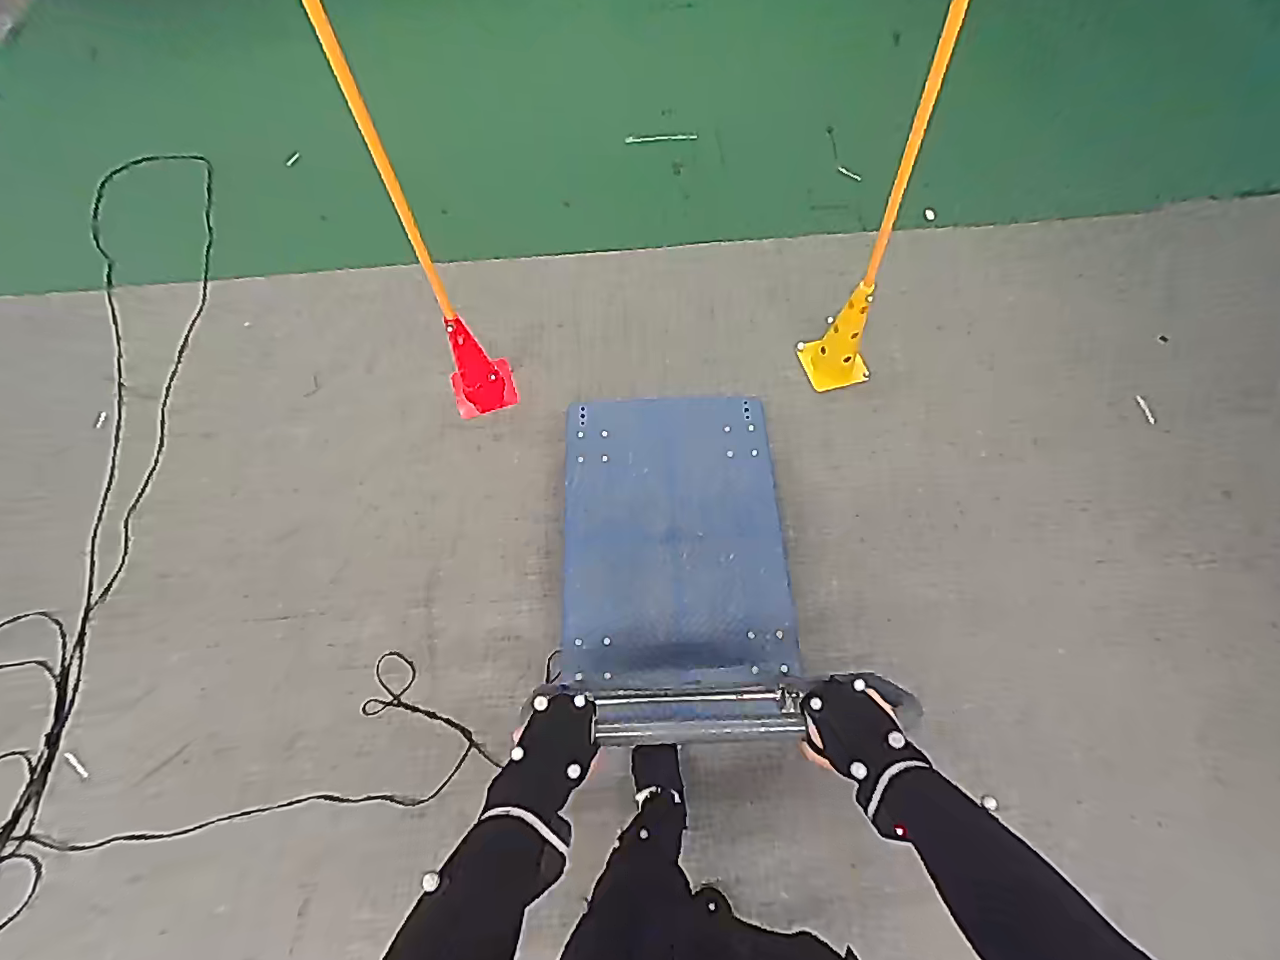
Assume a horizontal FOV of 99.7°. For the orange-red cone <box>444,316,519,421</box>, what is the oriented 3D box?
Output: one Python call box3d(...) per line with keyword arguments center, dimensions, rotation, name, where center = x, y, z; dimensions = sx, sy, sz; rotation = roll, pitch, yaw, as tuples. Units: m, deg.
box3d(center=(-0.528, -0.372, 1.678), dimensions=(0.199, 0.360, 0.198), rotation=(-18, 65, -5), name="orange-red cone")
